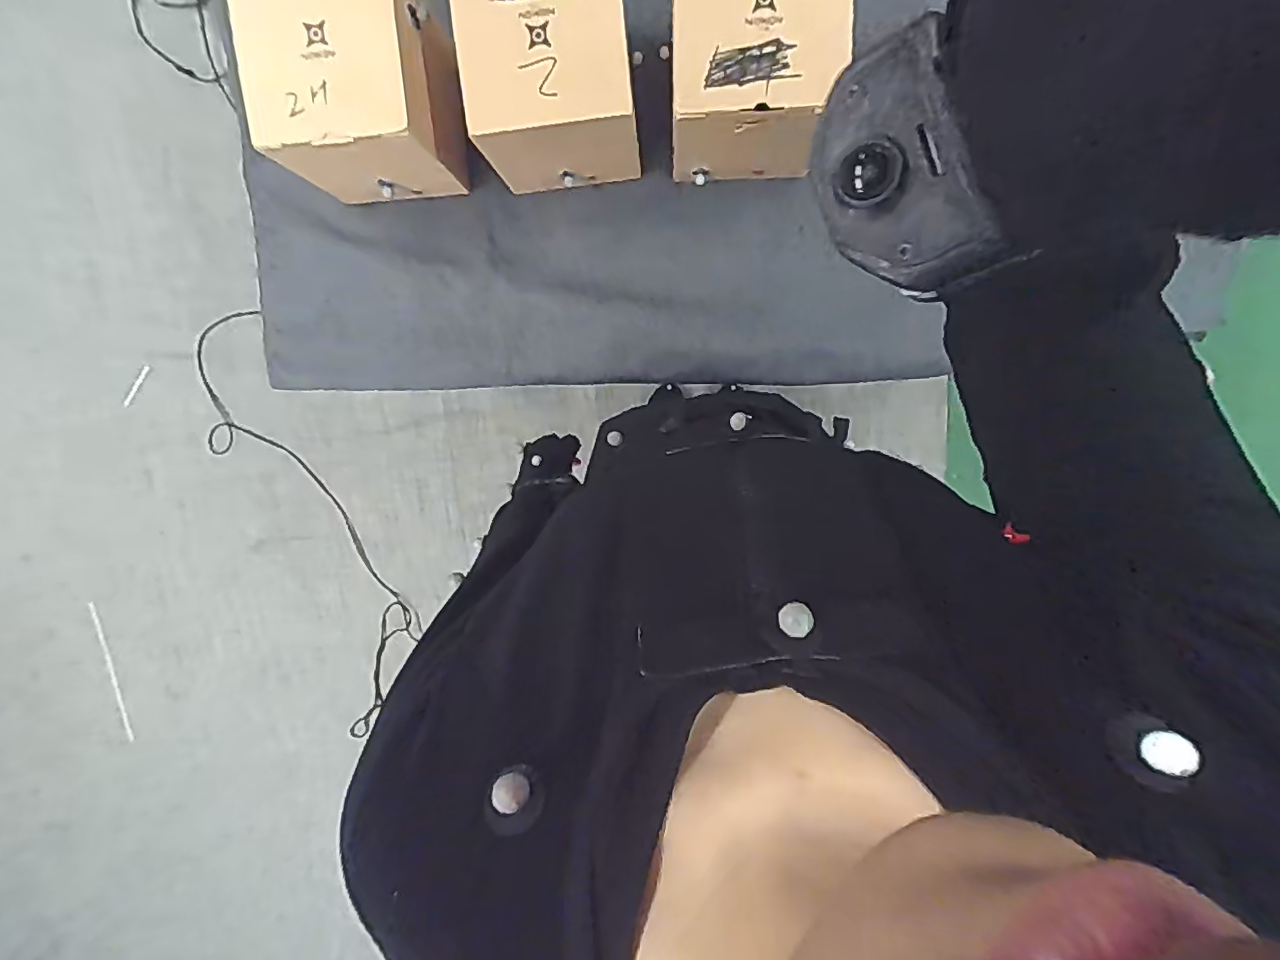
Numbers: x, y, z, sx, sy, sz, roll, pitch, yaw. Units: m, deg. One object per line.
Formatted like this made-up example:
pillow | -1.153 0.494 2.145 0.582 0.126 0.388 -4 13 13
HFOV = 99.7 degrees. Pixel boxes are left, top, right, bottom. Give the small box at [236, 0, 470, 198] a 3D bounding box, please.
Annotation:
small box | -0.304 -0.441 0.604 0.168 0.176 0.179 -3 99 4
